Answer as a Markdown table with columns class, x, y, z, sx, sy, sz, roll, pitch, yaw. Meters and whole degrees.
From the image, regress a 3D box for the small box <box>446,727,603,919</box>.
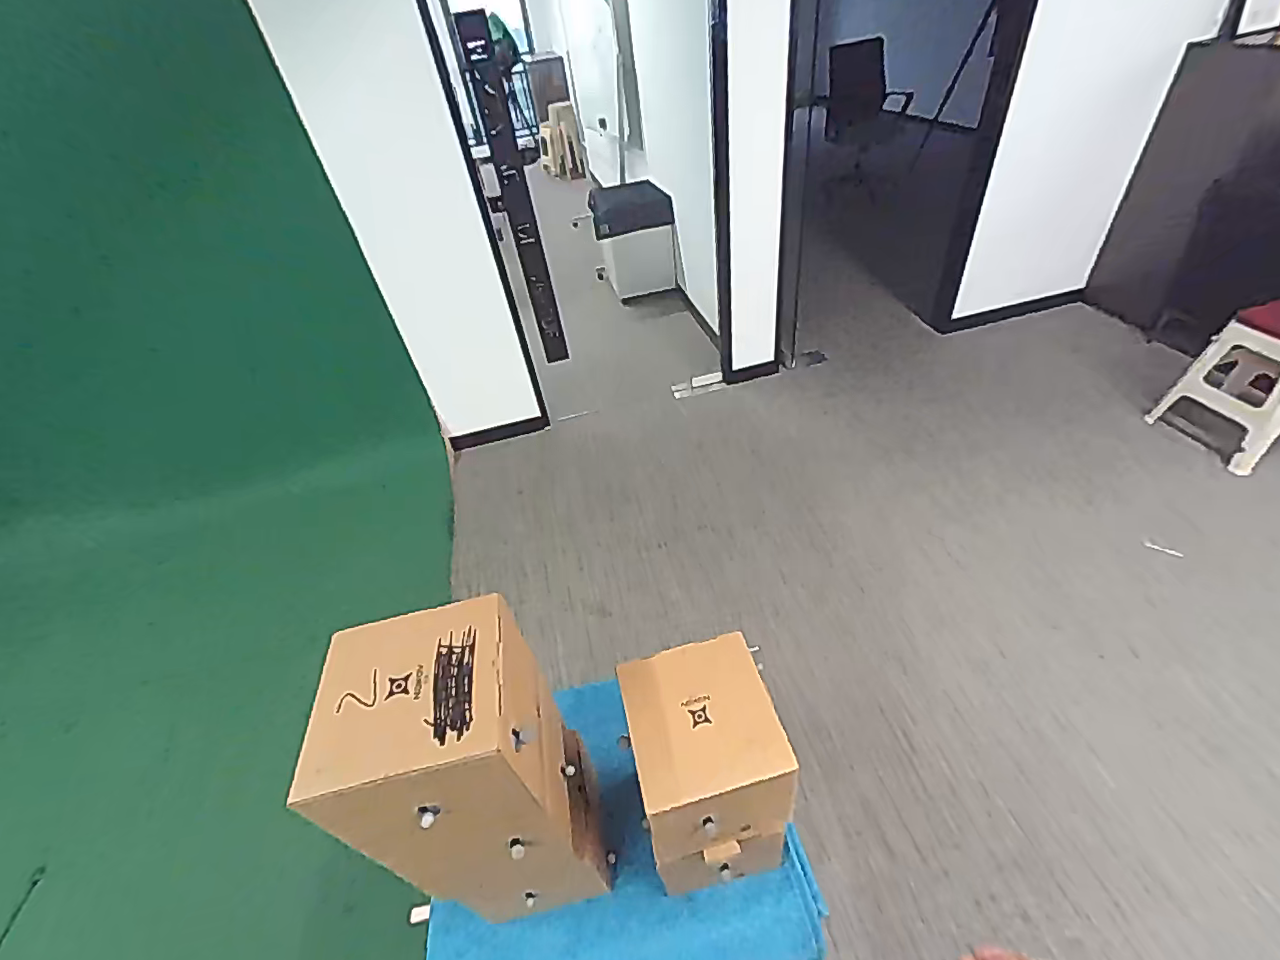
| class | x | y | z | sx | sy | sz | roll | pitch | yaw |
| --- | --- | --- | --- | --- | --- | --- | --- | --- | --- |
| small box | -0.153 | 0.481 | 0.759 | 0.179 | 0.176 | 0.168 | -13 | 41 | -4 |

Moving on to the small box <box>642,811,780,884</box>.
| class | x | y | z | sx | sy | sz | roll | pitch | yaw |
| --- | --- | --- | --- | --- | --- | --- | --- | --- | --- |
| small box | 0.087 | 0.440 | 0.761 | 0.168 | 0.176 | 0.179 | -13 | 41 | -4 |

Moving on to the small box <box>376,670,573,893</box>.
| class | x | y | z | sx | sy | sz | roll | pitch | yaw |
| --- | --- | --- | --- | --- | --- | --- | --- | --- | --- |
| small box | -0.182 | 0.361 | 0.649 | 0.179 | 0.176 | 0.168 | -13 | 41 | -4 |

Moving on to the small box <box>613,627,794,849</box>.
| class | x | y | z | sx | sy | sz | roll | pitch | yaw |
| --- | --- | --- | --- | --- | --- | --- | --- | --- | --- |
| small box | 0.074 | 0.316 | 0.656 | 0.168 | 0.176 | 0.179 | -14 | 40 | -5 |
